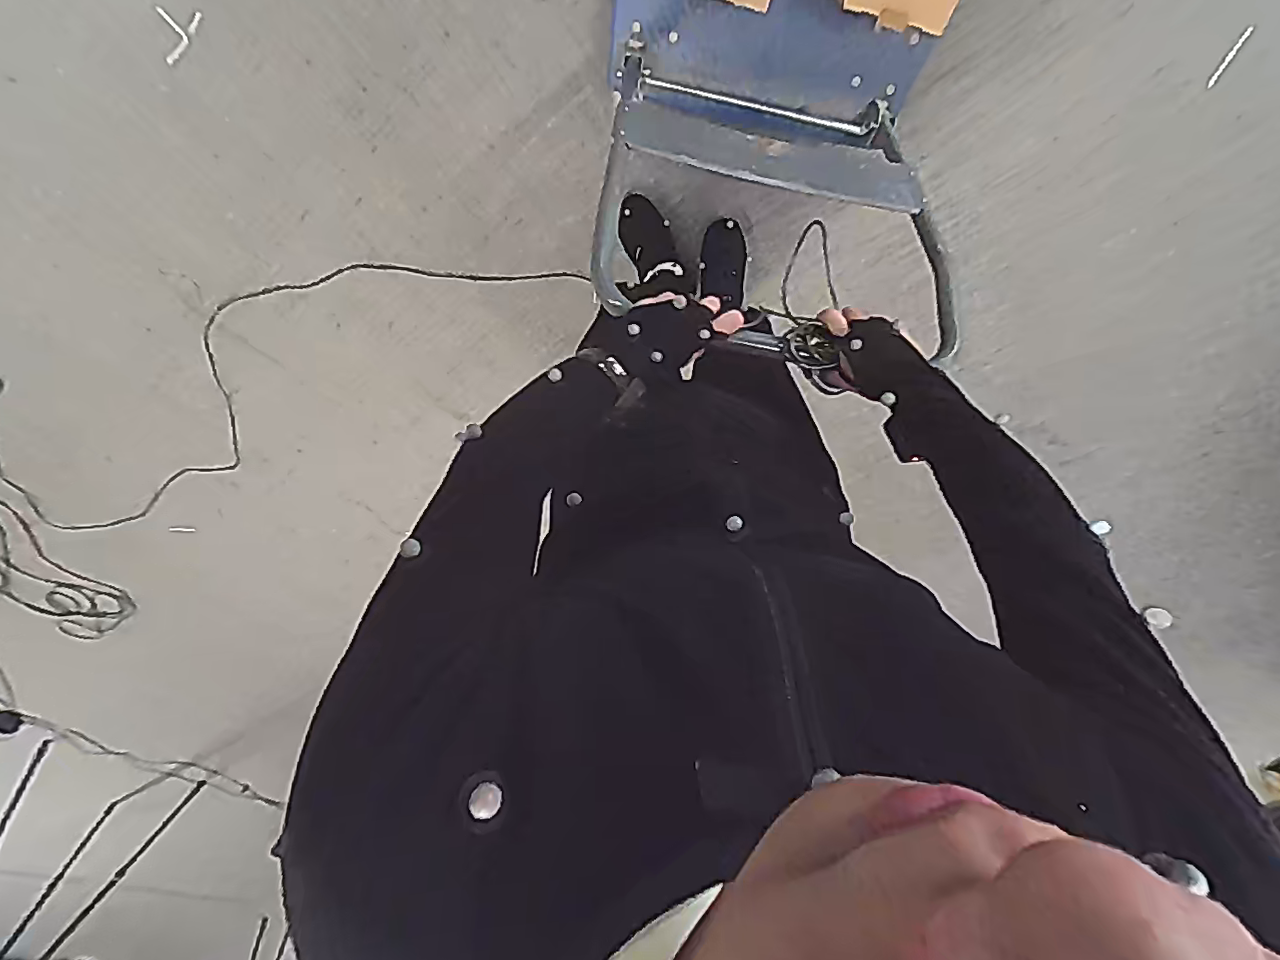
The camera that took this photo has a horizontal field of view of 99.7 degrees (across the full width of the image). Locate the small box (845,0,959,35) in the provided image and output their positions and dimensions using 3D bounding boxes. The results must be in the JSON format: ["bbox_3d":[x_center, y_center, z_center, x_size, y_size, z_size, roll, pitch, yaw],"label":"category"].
[{"bbox_3d":[0.402,-0.807,0.794,0.168,0.176,0.179,10,143,-7],"label":"small box"}]
